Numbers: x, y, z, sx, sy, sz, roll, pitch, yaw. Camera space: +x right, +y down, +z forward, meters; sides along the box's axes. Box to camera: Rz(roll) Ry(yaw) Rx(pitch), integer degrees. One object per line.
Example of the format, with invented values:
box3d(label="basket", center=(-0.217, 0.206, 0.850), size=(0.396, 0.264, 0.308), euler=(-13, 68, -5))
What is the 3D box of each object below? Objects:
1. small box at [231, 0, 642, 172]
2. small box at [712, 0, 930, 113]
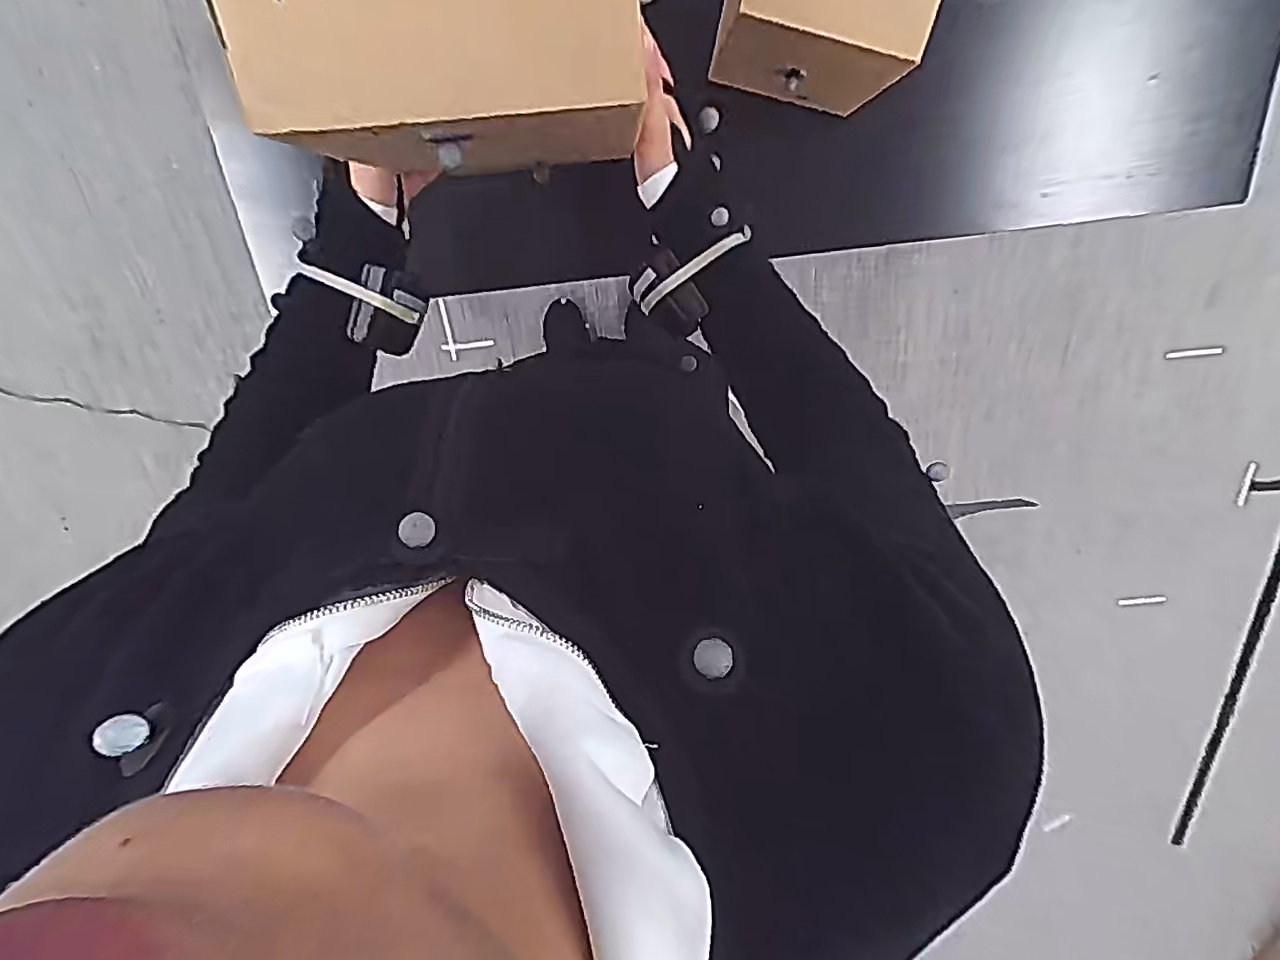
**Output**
box3d(label="small box", center=(-0.092, -0.271, 0.288), size=(0.179, 0.176, 0.168), euler=(-5, 115, -1))
box3d(label="small box", center=(0.174, -0.485, 0.515), size=(0.168, 0.176, 0.179), euler=(11, 109, -7))
